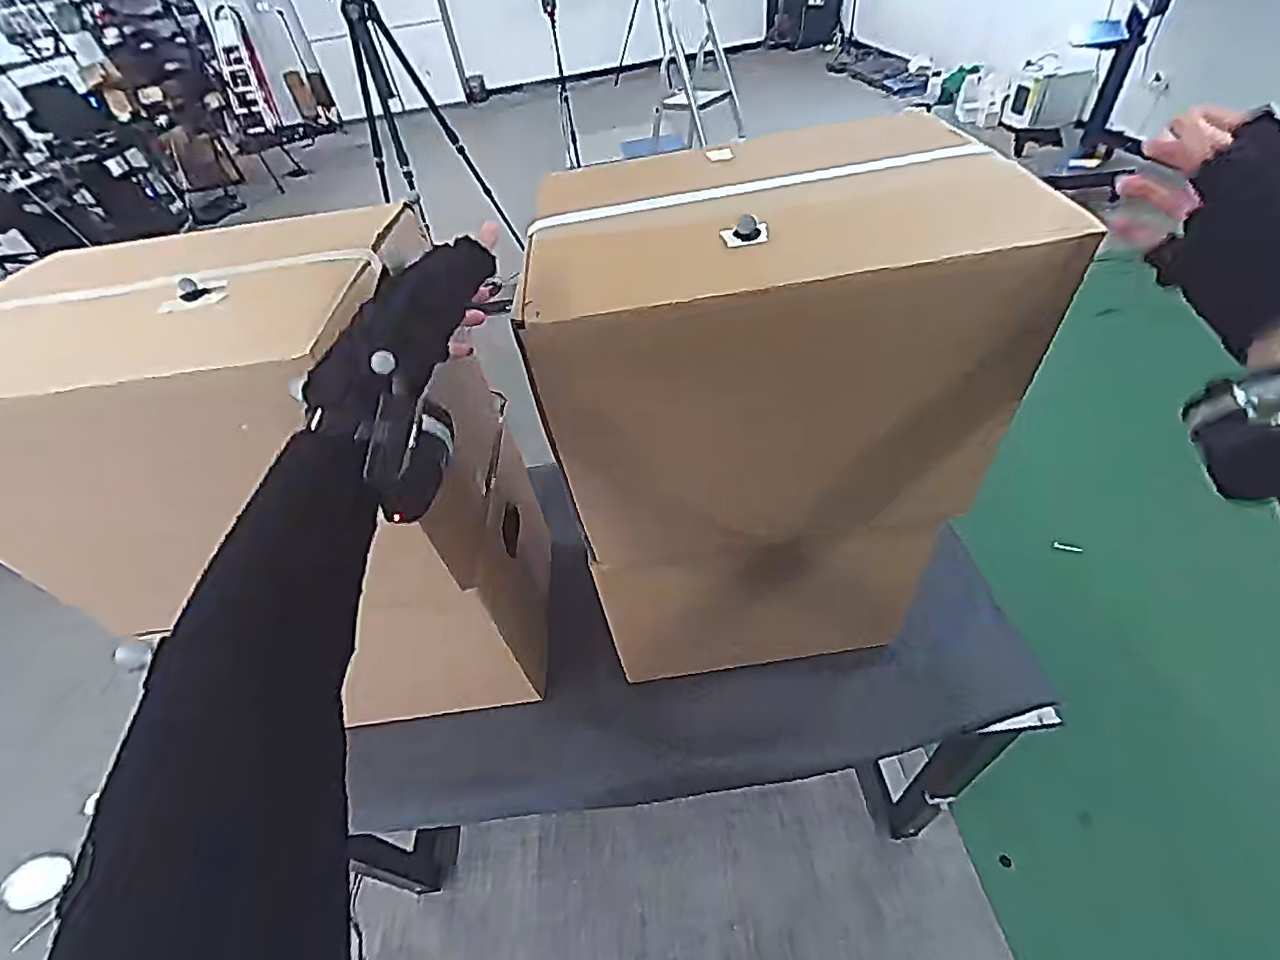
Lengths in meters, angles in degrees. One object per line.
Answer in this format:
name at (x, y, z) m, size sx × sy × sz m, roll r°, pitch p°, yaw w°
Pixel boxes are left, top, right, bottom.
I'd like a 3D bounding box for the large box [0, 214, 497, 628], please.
large box at (-0.413, -0.064, 0.606) m, size 0.408 × 0.320 × 0.320 m, roll -7°, pitch 46°, yaw 1°
